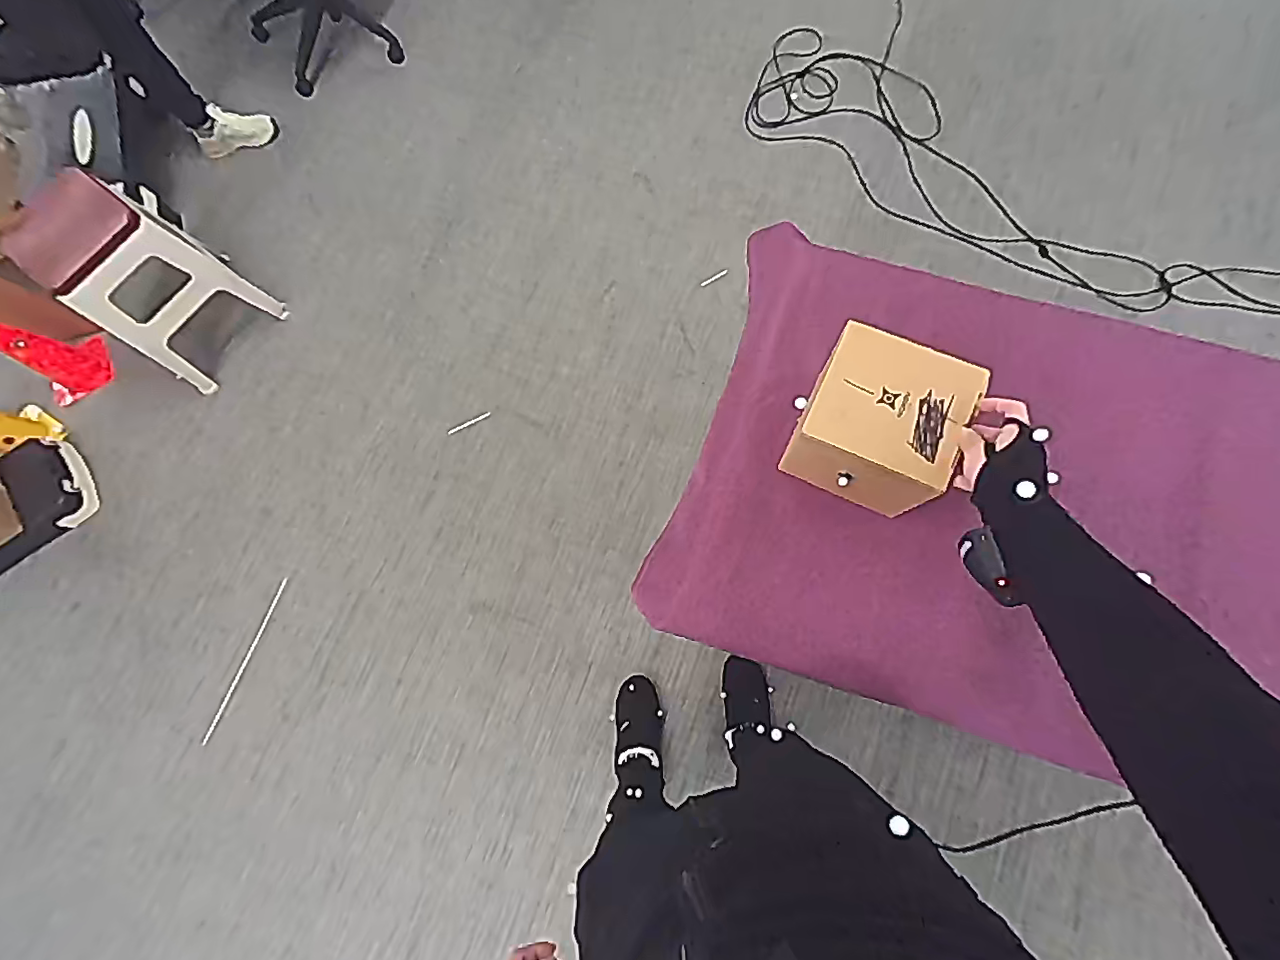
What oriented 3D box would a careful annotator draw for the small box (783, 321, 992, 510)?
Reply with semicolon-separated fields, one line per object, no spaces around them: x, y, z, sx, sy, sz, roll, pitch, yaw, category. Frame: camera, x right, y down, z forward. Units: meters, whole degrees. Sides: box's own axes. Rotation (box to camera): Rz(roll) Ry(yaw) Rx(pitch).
0.309;-0.072;0.712;0.179;0.176;0.168;25;79;12;small box
